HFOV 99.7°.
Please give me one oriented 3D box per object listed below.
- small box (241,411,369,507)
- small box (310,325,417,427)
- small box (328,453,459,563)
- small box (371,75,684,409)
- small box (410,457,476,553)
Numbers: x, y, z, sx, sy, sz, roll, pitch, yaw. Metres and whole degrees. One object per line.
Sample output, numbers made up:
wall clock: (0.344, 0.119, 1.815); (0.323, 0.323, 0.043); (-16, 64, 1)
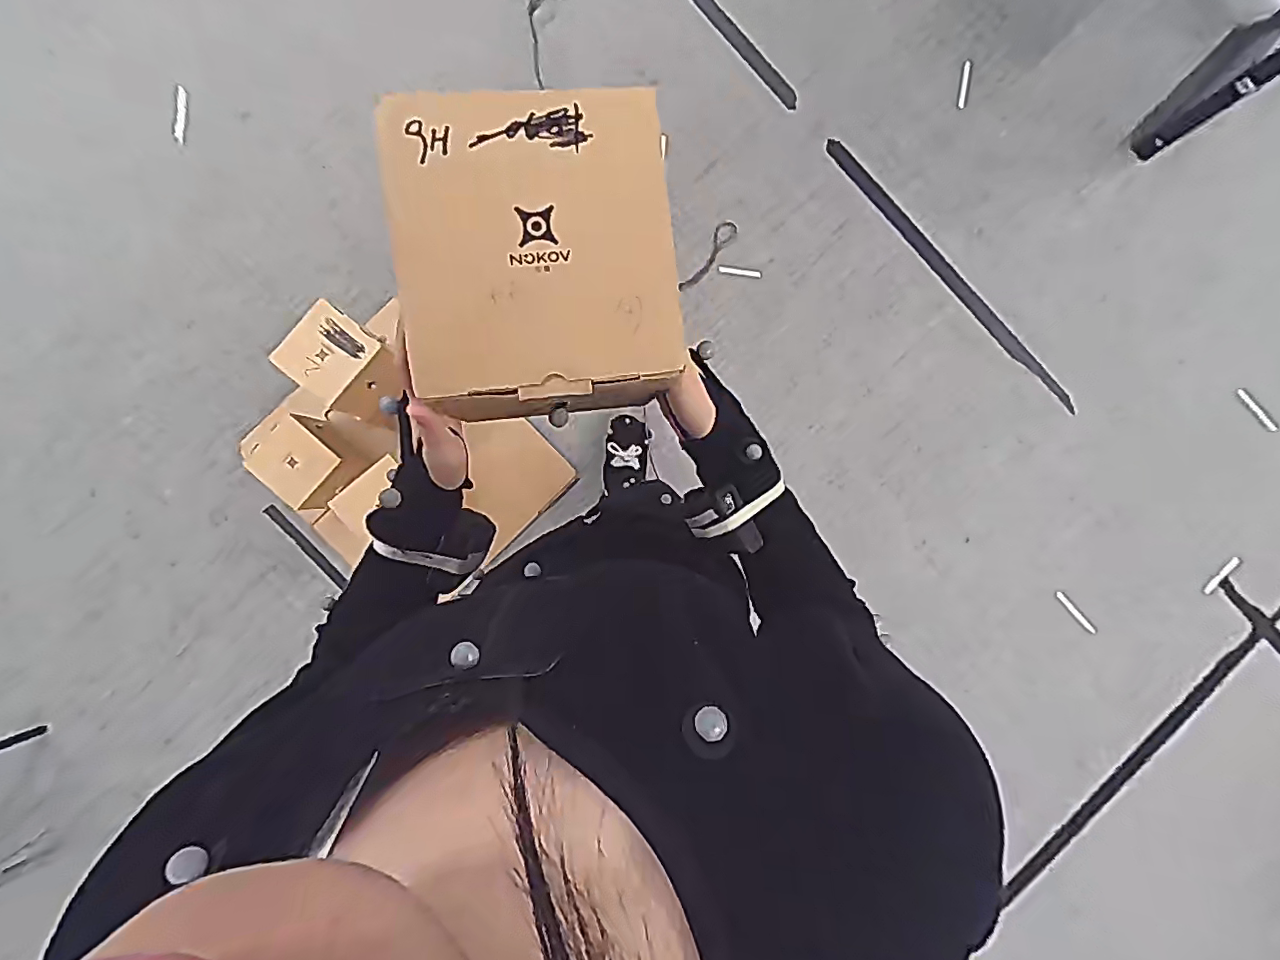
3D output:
small box: (-0.833, -0.048, 1.362); (0.179, 0.176, 0.168); (41, 89, -1)
small box: (-0.678, -0.256, 1.374); (0.168, 0.176, 0.179); (42, 87, -1)
small box: (-0.539, 0.061, 1.208); (0.168, 0.176, 0.179); (-40, 92, -3)
small box: (-0.071, -0.147, 0.394); (0.168, 0.176, 0.179); (-7, 93, -8)
small box: (-0.548, 0.062, 1.373); (0.168, 0.176, 0.179); (-41, 92, -3)
